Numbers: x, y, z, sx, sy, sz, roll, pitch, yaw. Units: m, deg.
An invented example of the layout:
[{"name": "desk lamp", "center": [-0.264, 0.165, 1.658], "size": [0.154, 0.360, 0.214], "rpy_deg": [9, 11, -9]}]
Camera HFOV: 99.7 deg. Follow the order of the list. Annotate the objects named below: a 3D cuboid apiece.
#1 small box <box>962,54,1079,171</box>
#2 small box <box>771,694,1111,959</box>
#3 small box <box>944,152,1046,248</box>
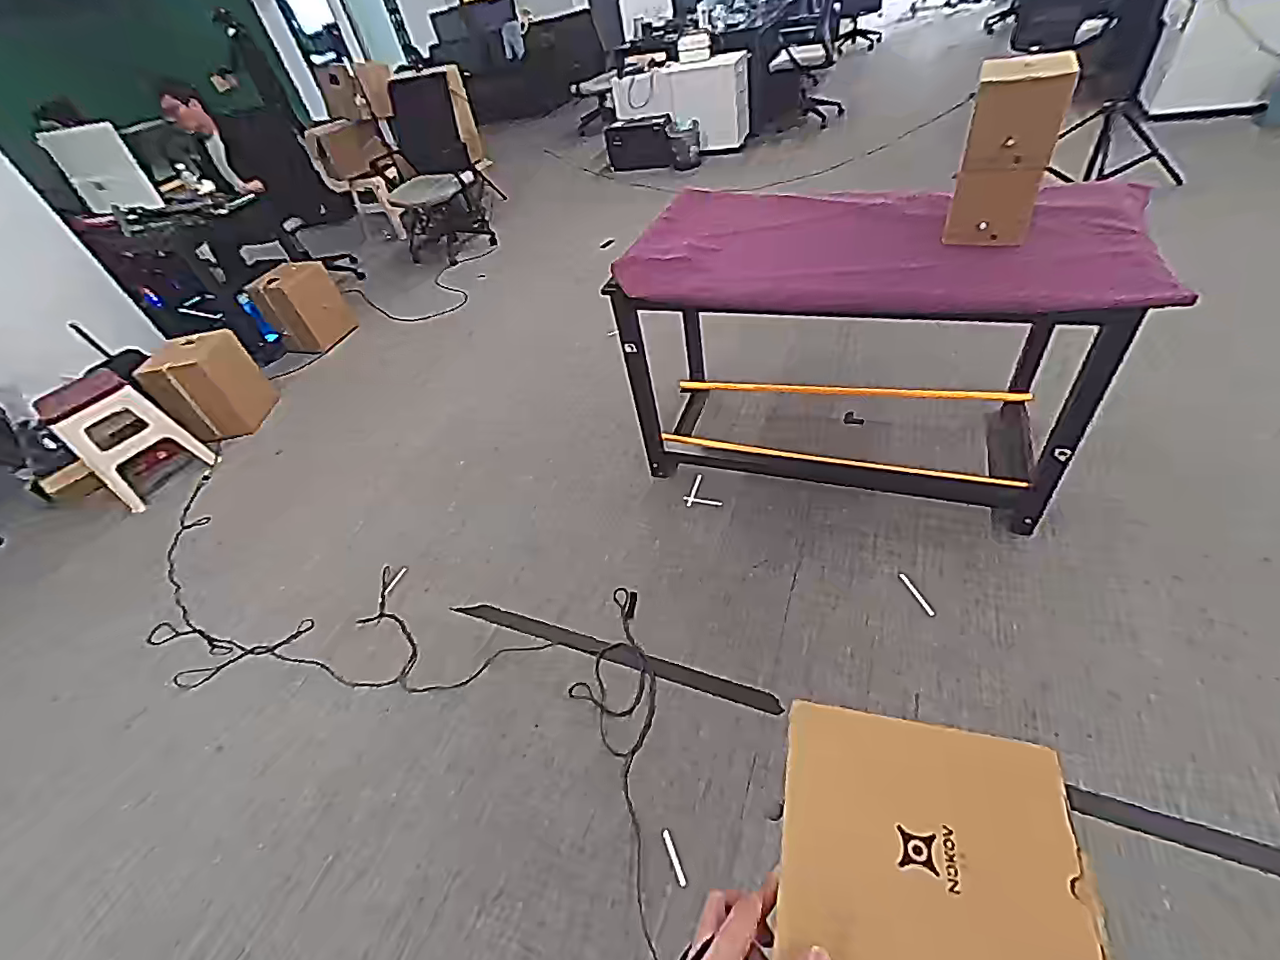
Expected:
[{"name": "small box", "center": [0.807, -0.783, 1.160], "size": [0.168, 0.176, 0.179], "rpy_deg": [12, 50, 25]}, {"name": "small box", "center": [0.190, 0.284, 0.392], "size": [0.179, 0.176, 0.168], "rpy_deg": [5, 46, 16]}, {"name": "small box", "center": [0.833, -0.670, 1.277], "size": [0.168, 0.176, 0.179], "rpy_deg": [12, 51, 24]}]
